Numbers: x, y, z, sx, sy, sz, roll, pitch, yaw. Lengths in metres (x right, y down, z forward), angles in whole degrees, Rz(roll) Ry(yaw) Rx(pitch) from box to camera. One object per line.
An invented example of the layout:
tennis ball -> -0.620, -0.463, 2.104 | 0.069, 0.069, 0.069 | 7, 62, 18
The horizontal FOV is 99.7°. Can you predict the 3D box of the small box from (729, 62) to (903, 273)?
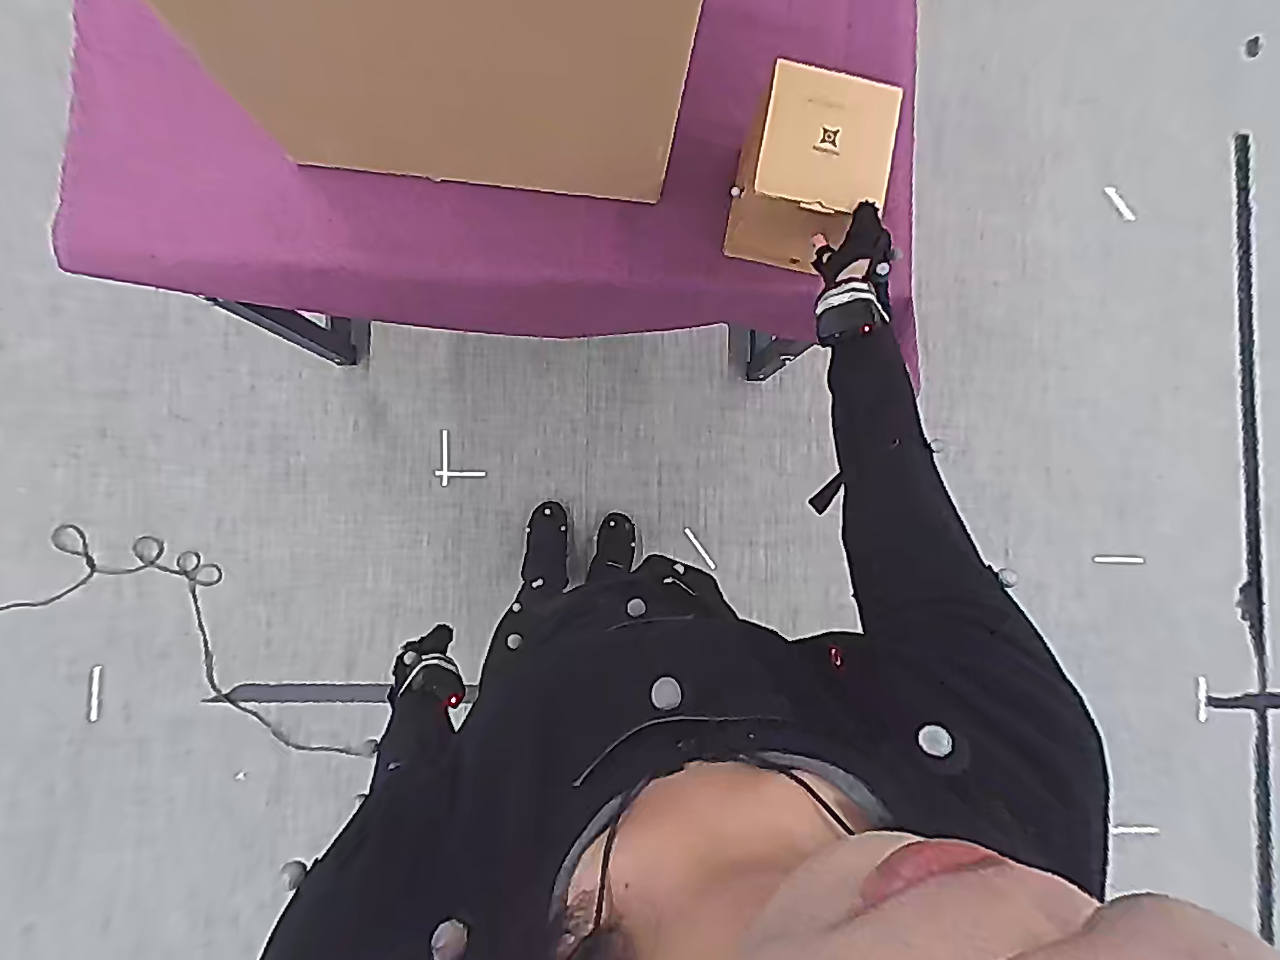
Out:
small box -> 0.229, -0.411, 0.744 | 0.168, 0.176, 0.179 | 10, 85, -4
